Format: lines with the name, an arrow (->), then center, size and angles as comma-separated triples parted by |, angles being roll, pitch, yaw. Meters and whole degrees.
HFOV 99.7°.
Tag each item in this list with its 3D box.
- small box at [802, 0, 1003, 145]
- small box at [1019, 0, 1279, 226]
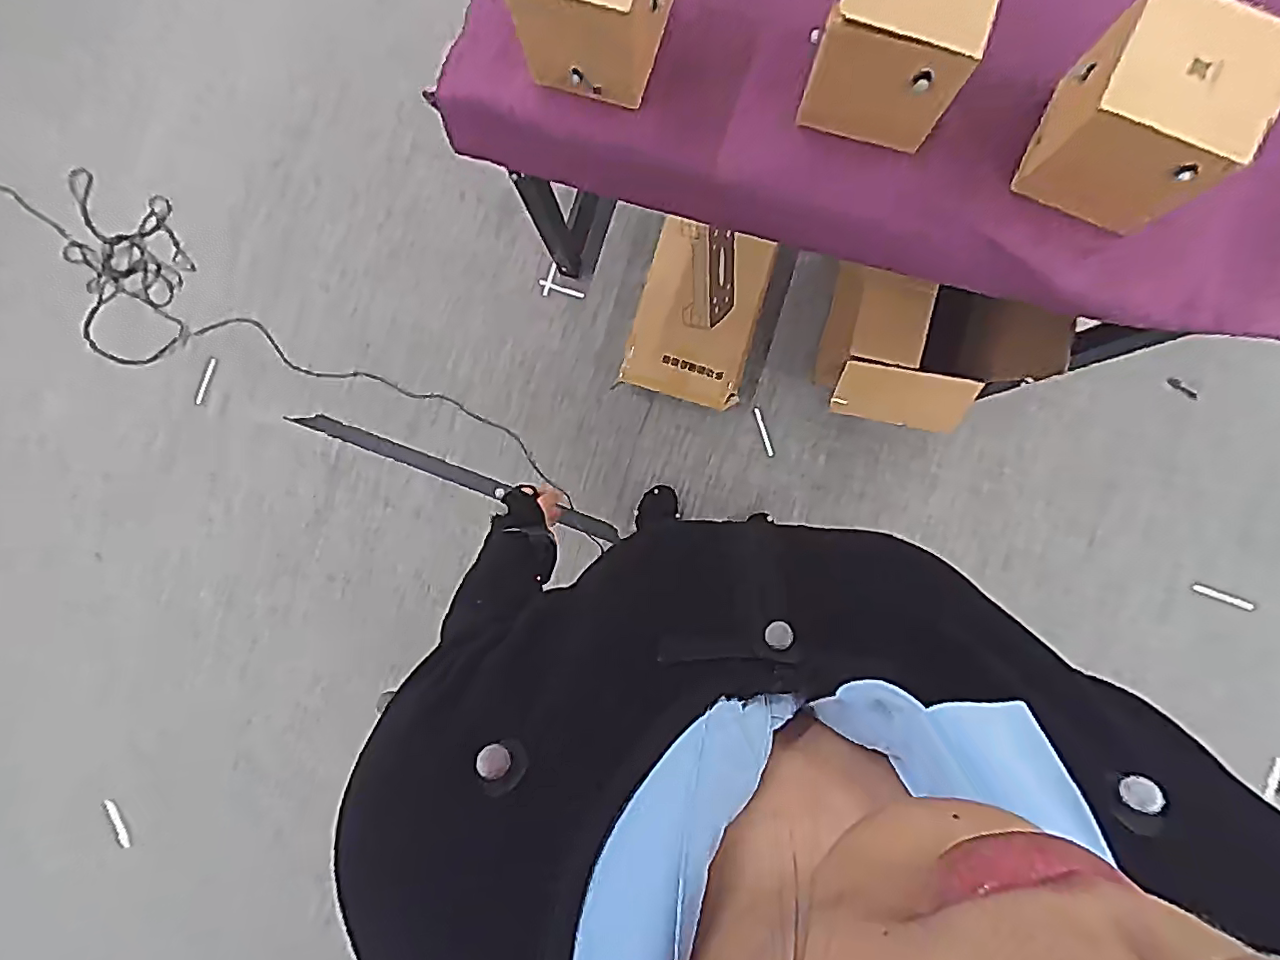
small box -> 0.329, -0.567, 0.687 | 0.179, 0.176, 0.168 | 17, 88, 4
small box -> 0.625, -0.449, 0.668 | 0.179, 0.176, 0.168 | 25, 90, 3
